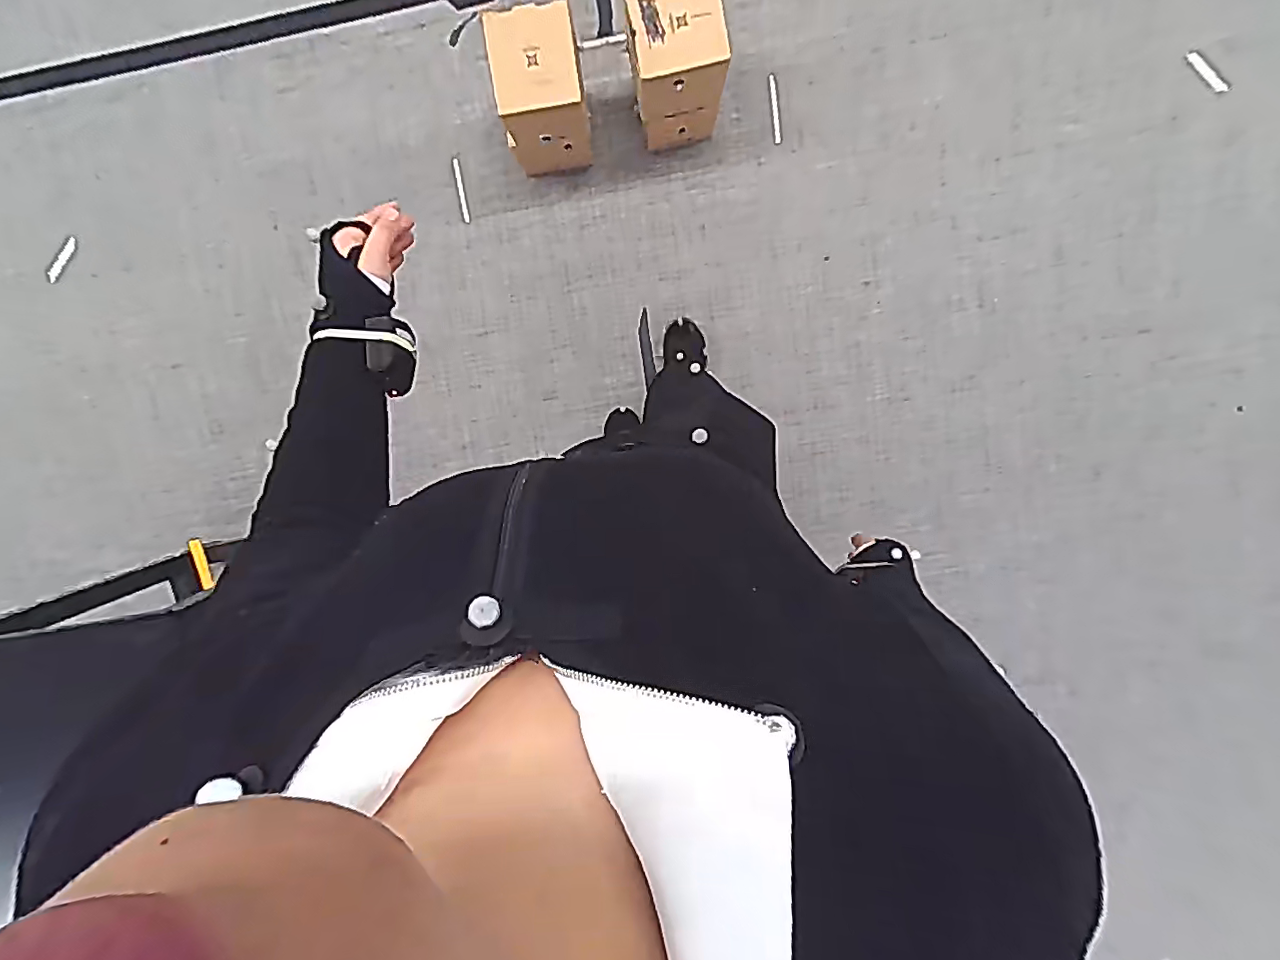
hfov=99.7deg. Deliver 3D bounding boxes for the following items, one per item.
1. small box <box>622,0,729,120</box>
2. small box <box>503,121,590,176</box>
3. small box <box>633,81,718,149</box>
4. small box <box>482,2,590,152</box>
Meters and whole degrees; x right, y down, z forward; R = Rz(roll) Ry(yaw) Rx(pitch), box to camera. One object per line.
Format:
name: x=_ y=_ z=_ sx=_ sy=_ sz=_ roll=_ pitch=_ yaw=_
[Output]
small box: x=0.068 y=-0.854 z=1.076 sx=0.179 sy=0.176 sz=0.168 roll=-12 pitch=100 yaw=2
small box: x=-0.215 y=-0.831 z=1.252 sx=0.179 sy=0.176 sz=0.168 roll=-8 pitch=100 yaw=3
small box: x=0.077 y=-0.888 z=1.238 sx=0.168 sy=0.176 sz=0.179 roll=-12 pitch=101 yaw=3
small box: x=-0.202 y=-0.800 z=1.092 sx=0.168 sy=0.176 sz=0.179 roll=-8 pitch=101 yaw=4
